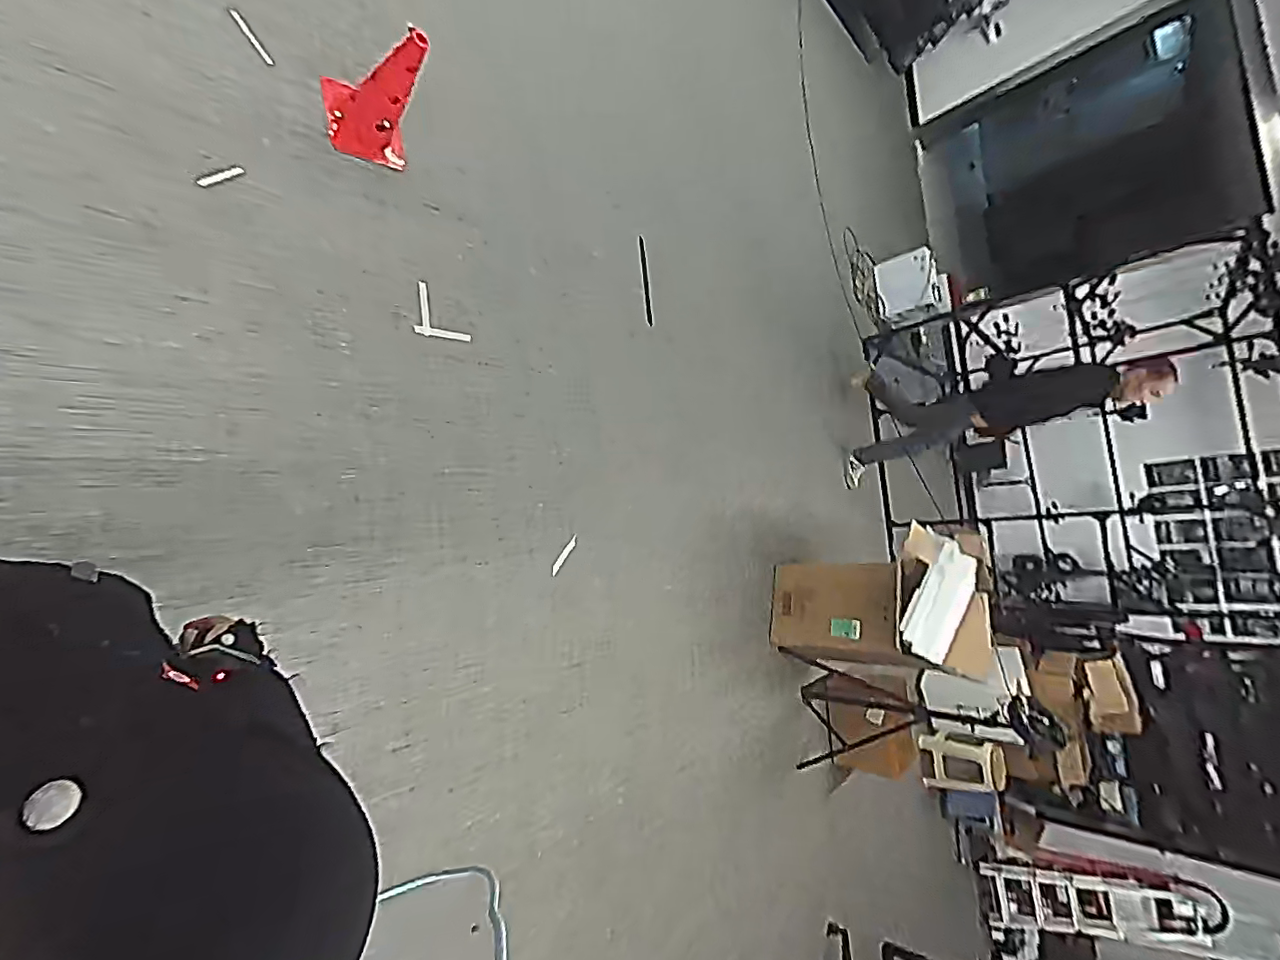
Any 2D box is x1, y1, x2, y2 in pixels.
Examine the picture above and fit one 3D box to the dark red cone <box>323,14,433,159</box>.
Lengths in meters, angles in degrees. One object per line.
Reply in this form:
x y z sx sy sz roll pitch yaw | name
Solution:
-0.618 -1.004 1.344 0.201 0.394 0.202 -10 90 -46 | dark red cone
